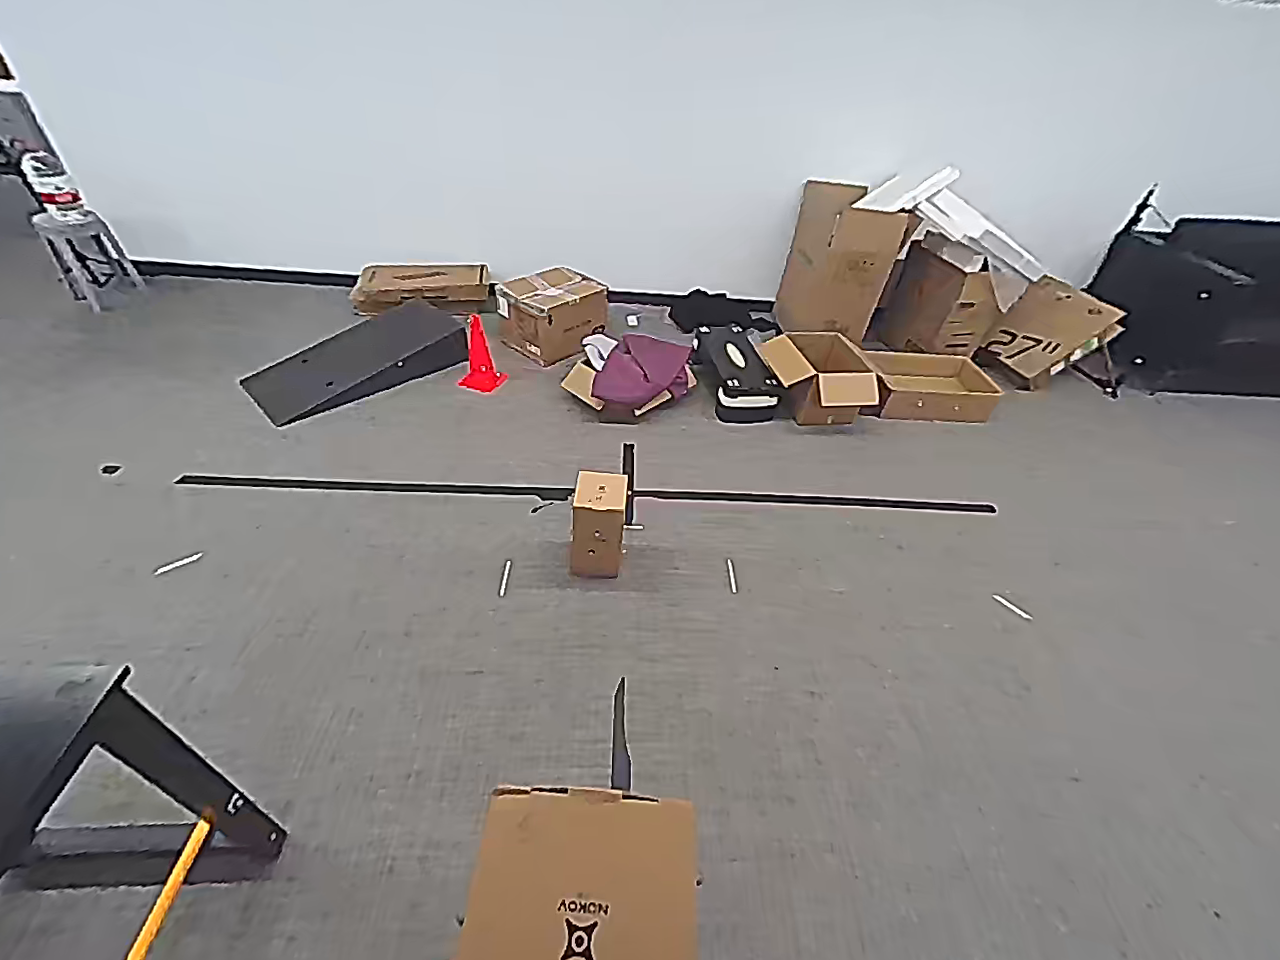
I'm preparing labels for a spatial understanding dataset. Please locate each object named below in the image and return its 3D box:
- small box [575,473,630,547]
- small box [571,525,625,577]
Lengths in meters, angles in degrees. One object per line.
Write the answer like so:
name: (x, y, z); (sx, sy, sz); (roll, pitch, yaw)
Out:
small box: (-0.127, 0.099, 1.806); (0.168, 0.176, 0.179); (5, 41, -1)
small box: (-0.146, 0.226, 1.910); (0.179, 0.176, 0.168); (5, 41, -1)
